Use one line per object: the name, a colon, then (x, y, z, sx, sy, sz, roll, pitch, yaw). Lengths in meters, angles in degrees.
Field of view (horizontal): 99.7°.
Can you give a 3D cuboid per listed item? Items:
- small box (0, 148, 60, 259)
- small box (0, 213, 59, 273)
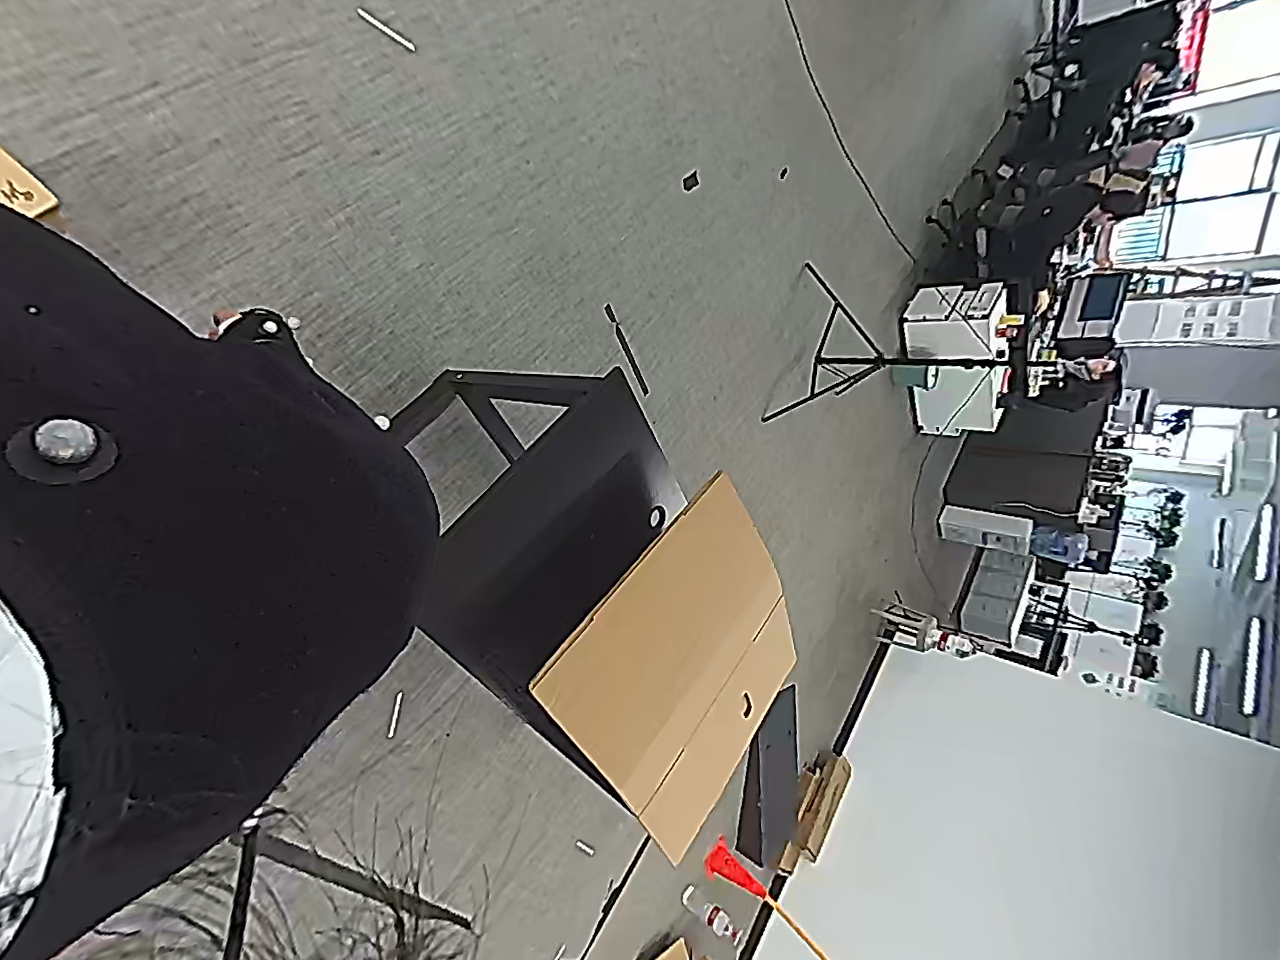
small box: (-0.873, -0.360, 0.653, 0.168, 0.176, 0.179, -54, 133, -24)
small box: (-0.990, -0.385, 0.766, 0.179, 0.176, 0.168, -57, 135, -23)
